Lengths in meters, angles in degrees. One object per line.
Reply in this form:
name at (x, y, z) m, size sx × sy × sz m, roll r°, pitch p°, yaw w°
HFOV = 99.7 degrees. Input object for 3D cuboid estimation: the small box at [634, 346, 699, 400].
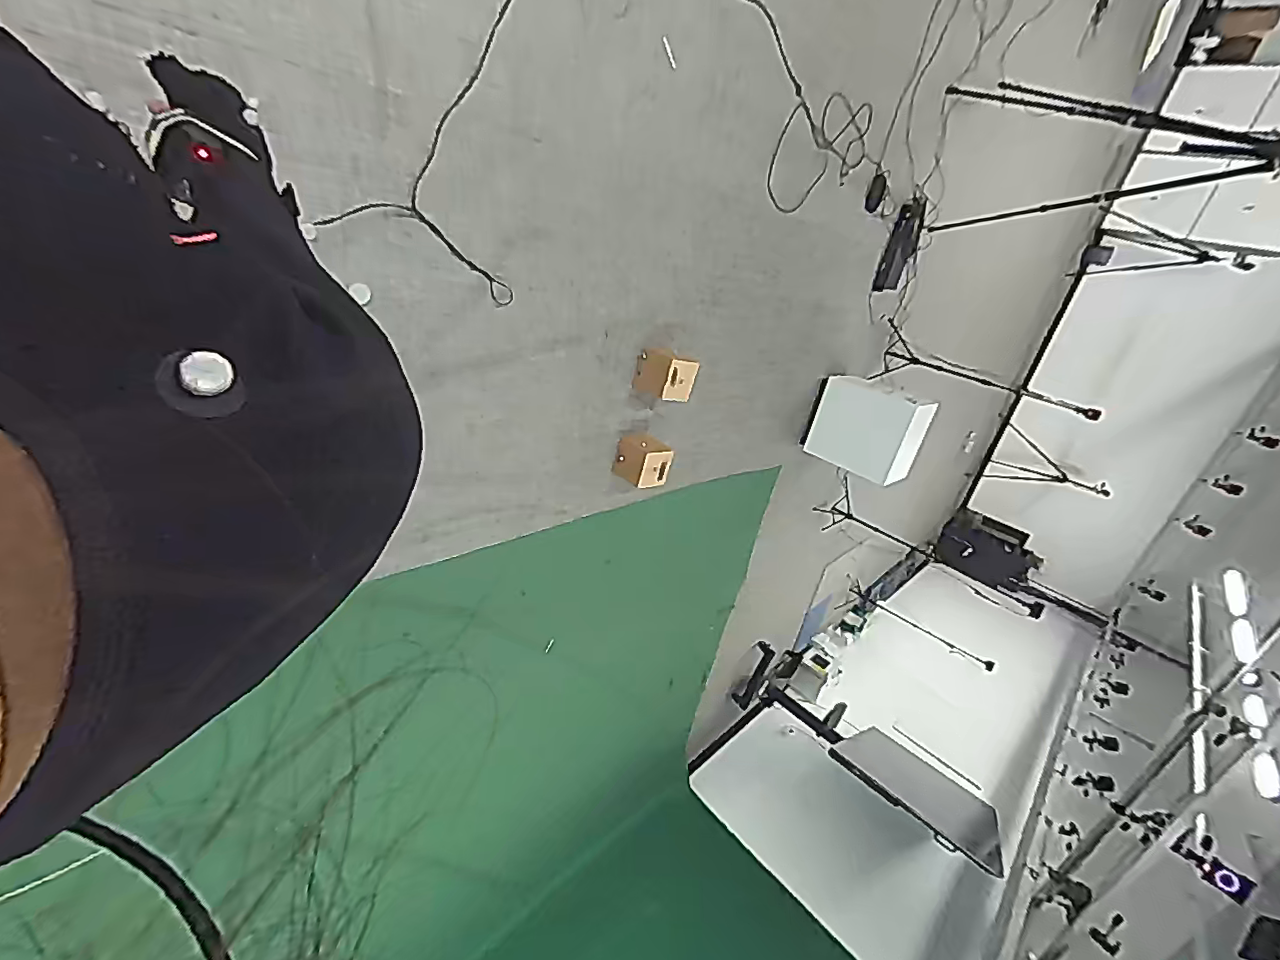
small box at (0.102, -0.433, 2.179) m, size 0.179 × 0.176 × 0.168 m, roll -6°, pitch 121°, yaw -48°
